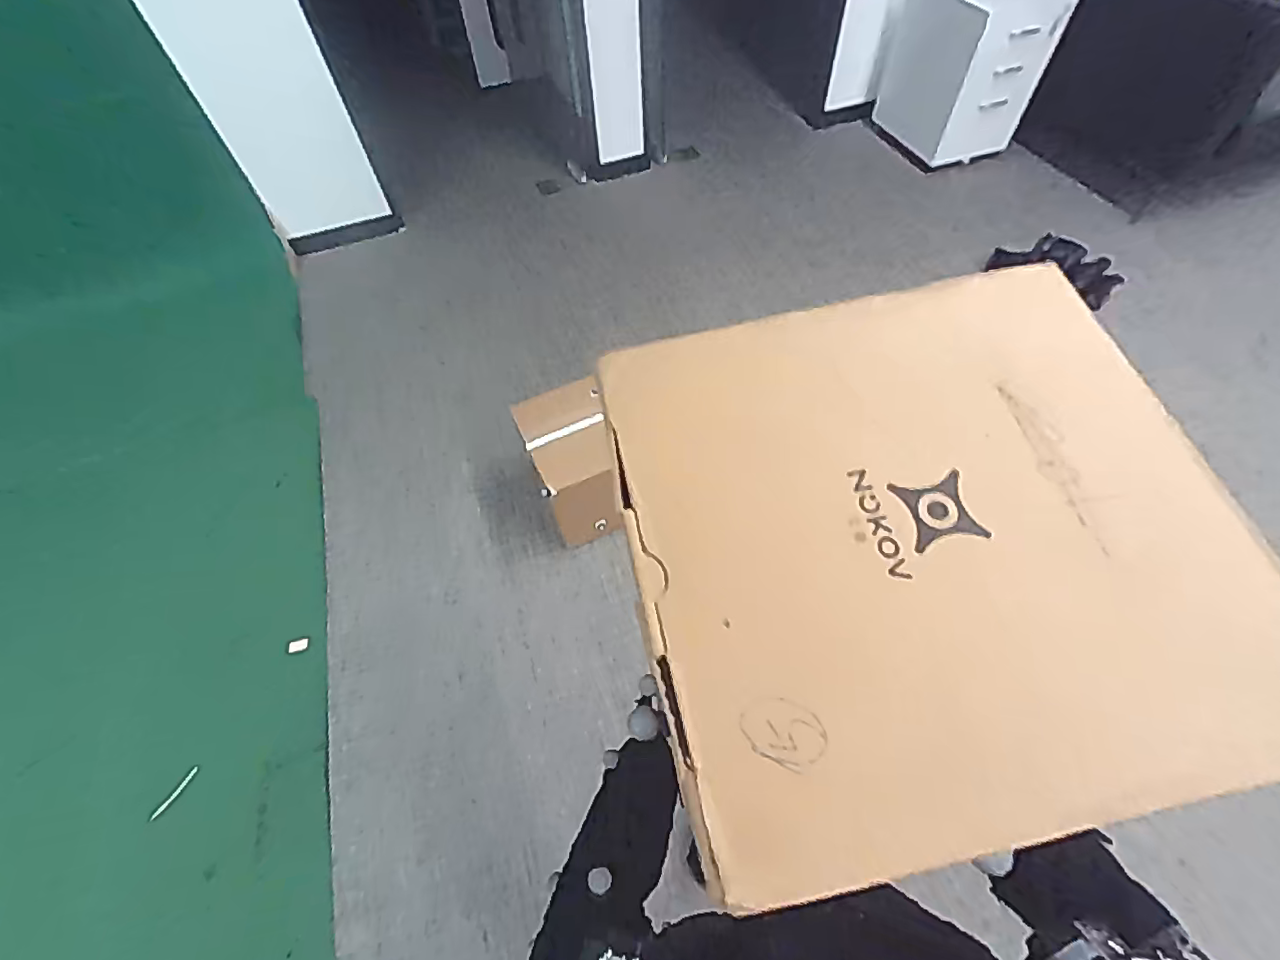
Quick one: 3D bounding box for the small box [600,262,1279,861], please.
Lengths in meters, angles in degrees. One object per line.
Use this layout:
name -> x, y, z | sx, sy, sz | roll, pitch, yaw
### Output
small box -> 0.089, 0.039, 0.241 | 0.179, 0.176, 0.168 | -12, 66, -4
